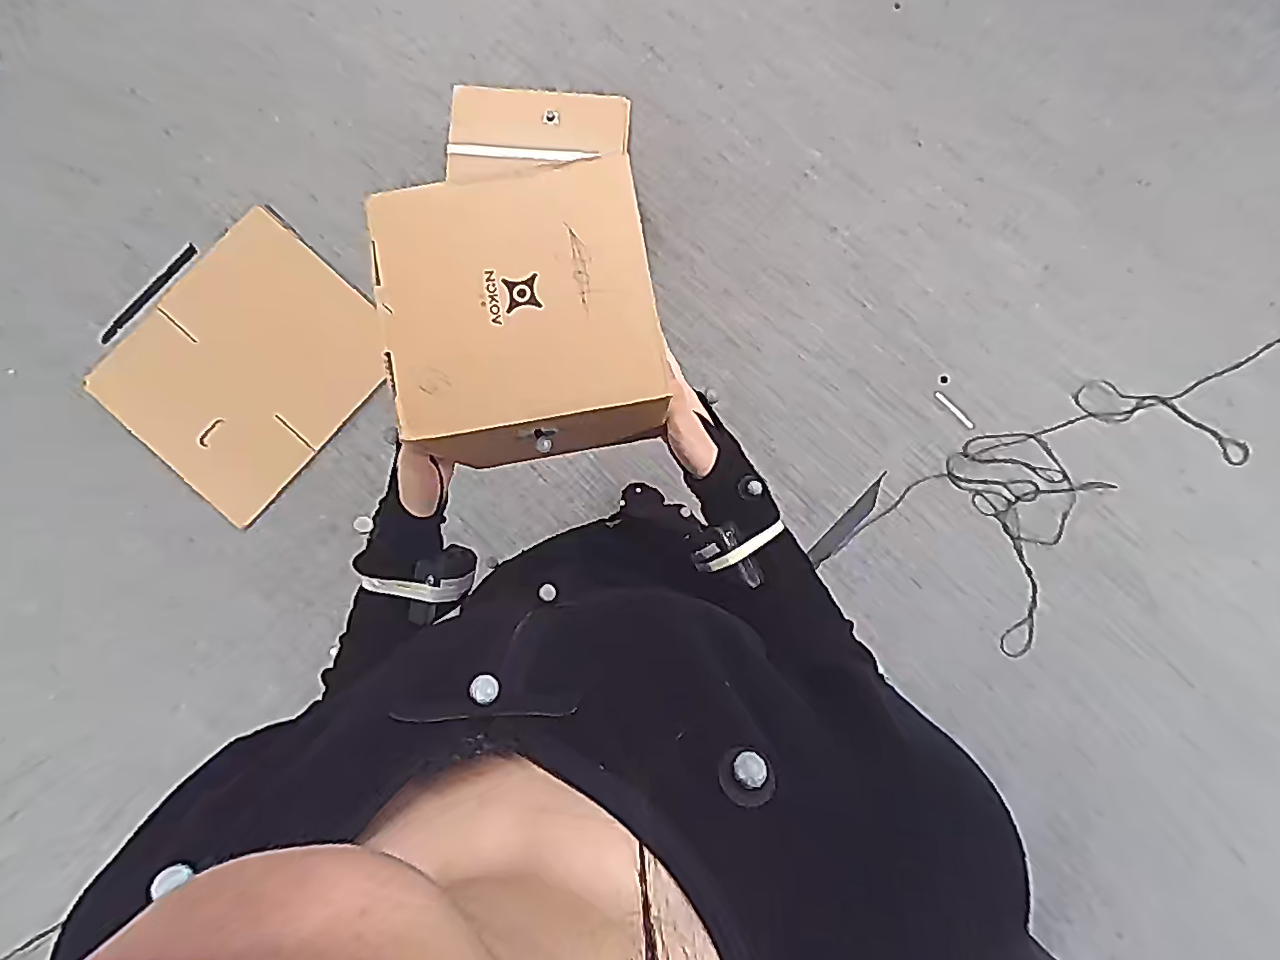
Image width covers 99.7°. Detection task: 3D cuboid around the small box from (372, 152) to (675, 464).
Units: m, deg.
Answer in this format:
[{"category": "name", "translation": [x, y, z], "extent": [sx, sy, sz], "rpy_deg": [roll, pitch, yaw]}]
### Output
[{"category": "small box", "translation": [-0.075, -0.113, 0.424], "extent": [0.179, 0.176, 0.168], "rpy_deg": [-11, 86, -2]}]
